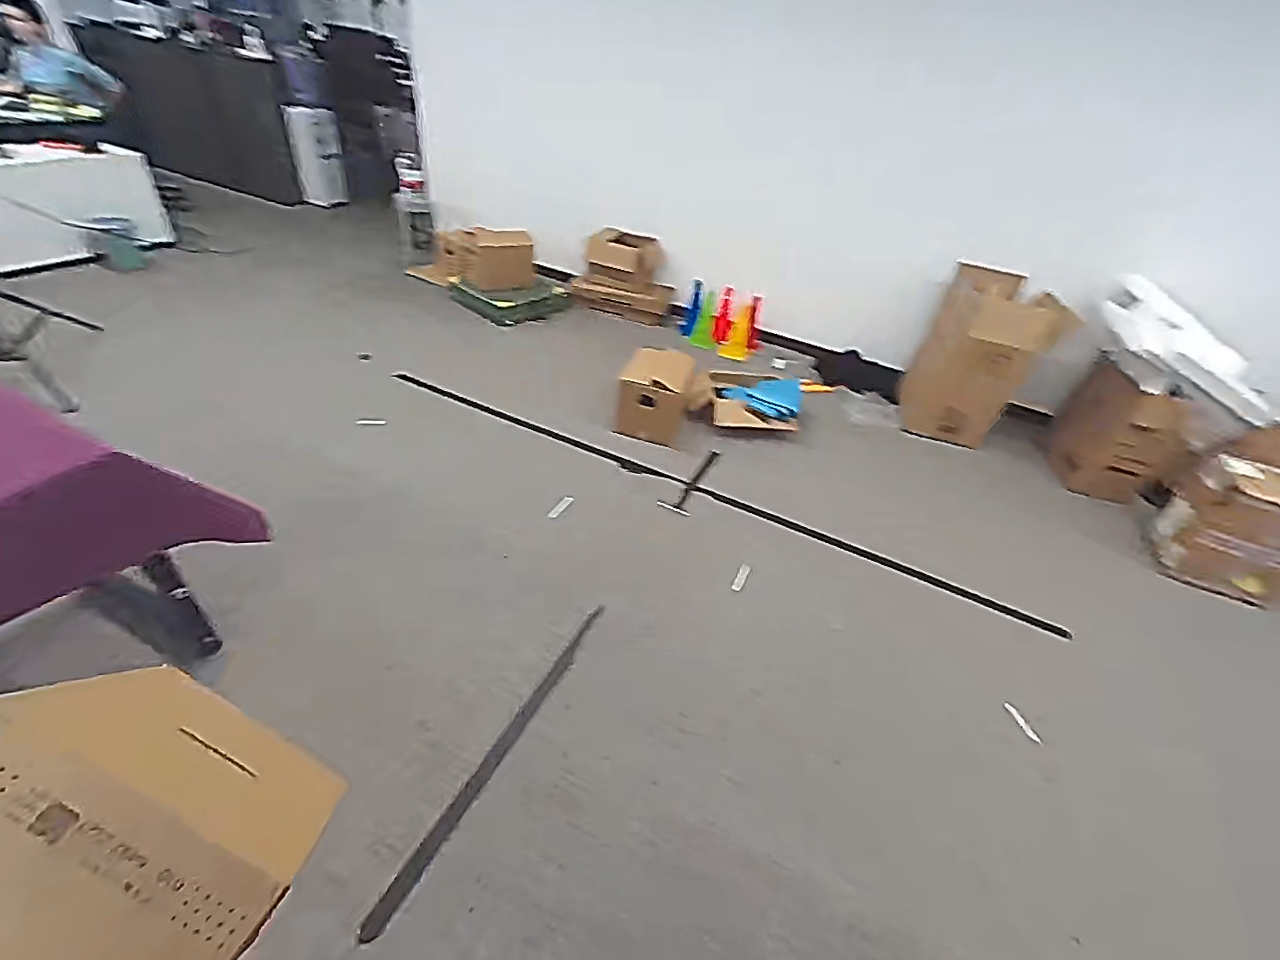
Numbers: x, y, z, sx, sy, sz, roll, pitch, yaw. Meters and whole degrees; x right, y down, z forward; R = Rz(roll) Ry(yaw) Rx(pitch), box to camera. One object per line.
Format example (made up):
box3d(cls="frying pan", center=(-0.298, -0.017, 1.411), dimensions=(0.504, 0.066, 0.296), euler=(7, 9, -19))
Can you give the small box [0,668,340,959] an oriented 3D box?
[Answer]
box3d(cls="small box", center=(-0.312, 0.229, 0.310), dimensions=(0.168, 0.179, 0.176), euler=(38, 69, -6))
